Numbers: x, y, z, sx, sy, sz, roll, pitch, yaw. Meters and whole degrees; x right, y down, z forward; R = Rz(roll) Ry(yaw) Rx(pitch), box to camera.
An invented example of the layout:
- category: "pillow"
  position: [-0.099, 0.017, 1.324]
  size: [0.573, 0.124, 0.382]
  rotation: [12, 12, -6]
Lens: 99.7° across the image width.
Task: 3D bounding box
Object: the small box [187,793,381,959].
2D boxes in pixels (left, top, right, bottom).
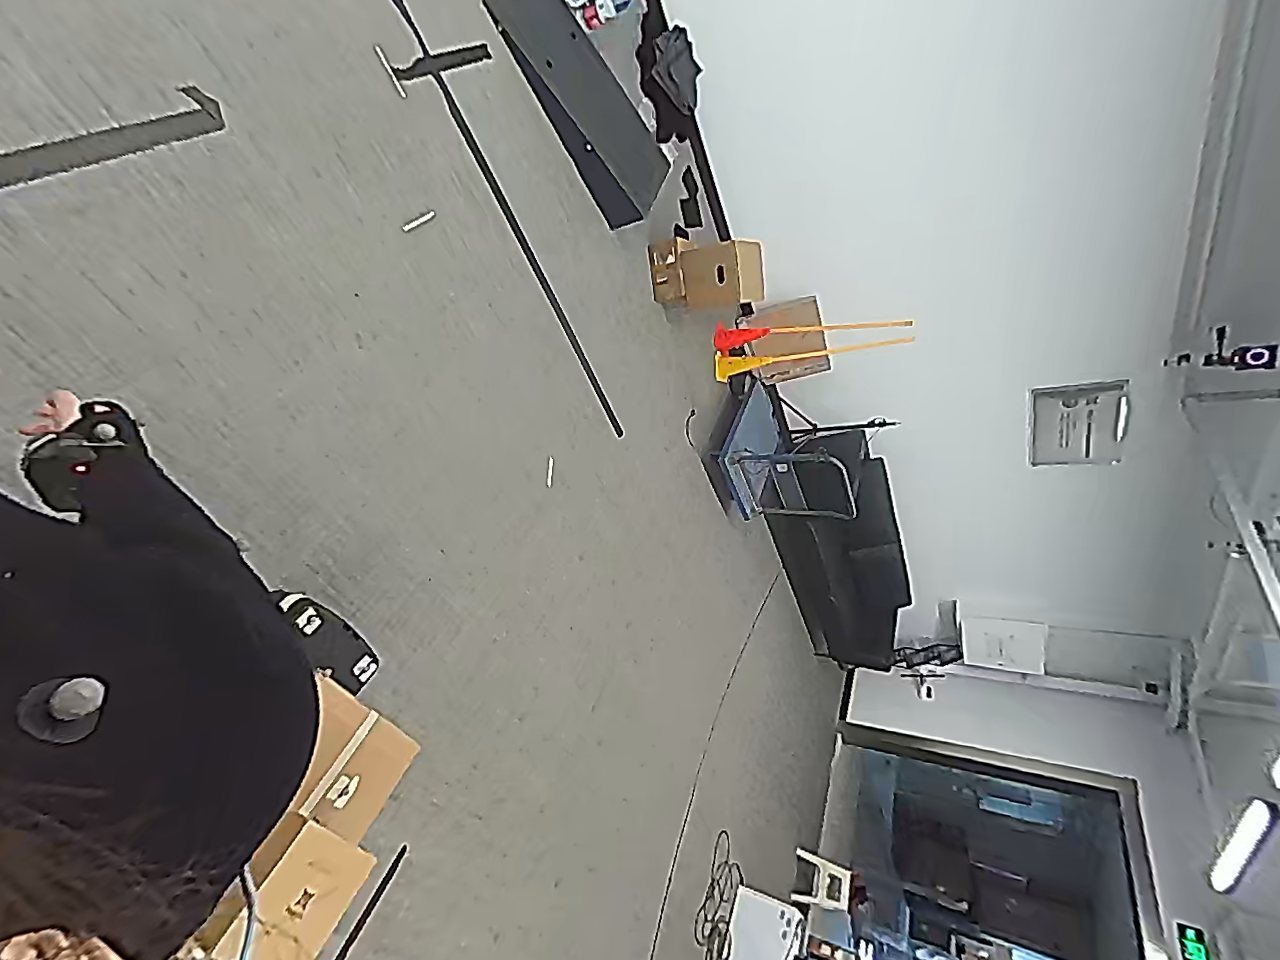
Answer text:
- category: "small box"
  position: [-0.565, 0.638, 0.857]
  size: [0.168, 0.176, 0.179]
  rotation: [63, 40, -32]

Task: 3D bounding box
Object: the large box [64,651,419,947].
- category: "large box"
  position: [-0.736, 0.604, 1.048]
  size: [0.320, 0.320, 0.408]
  rotation: [62, 40, -34]
